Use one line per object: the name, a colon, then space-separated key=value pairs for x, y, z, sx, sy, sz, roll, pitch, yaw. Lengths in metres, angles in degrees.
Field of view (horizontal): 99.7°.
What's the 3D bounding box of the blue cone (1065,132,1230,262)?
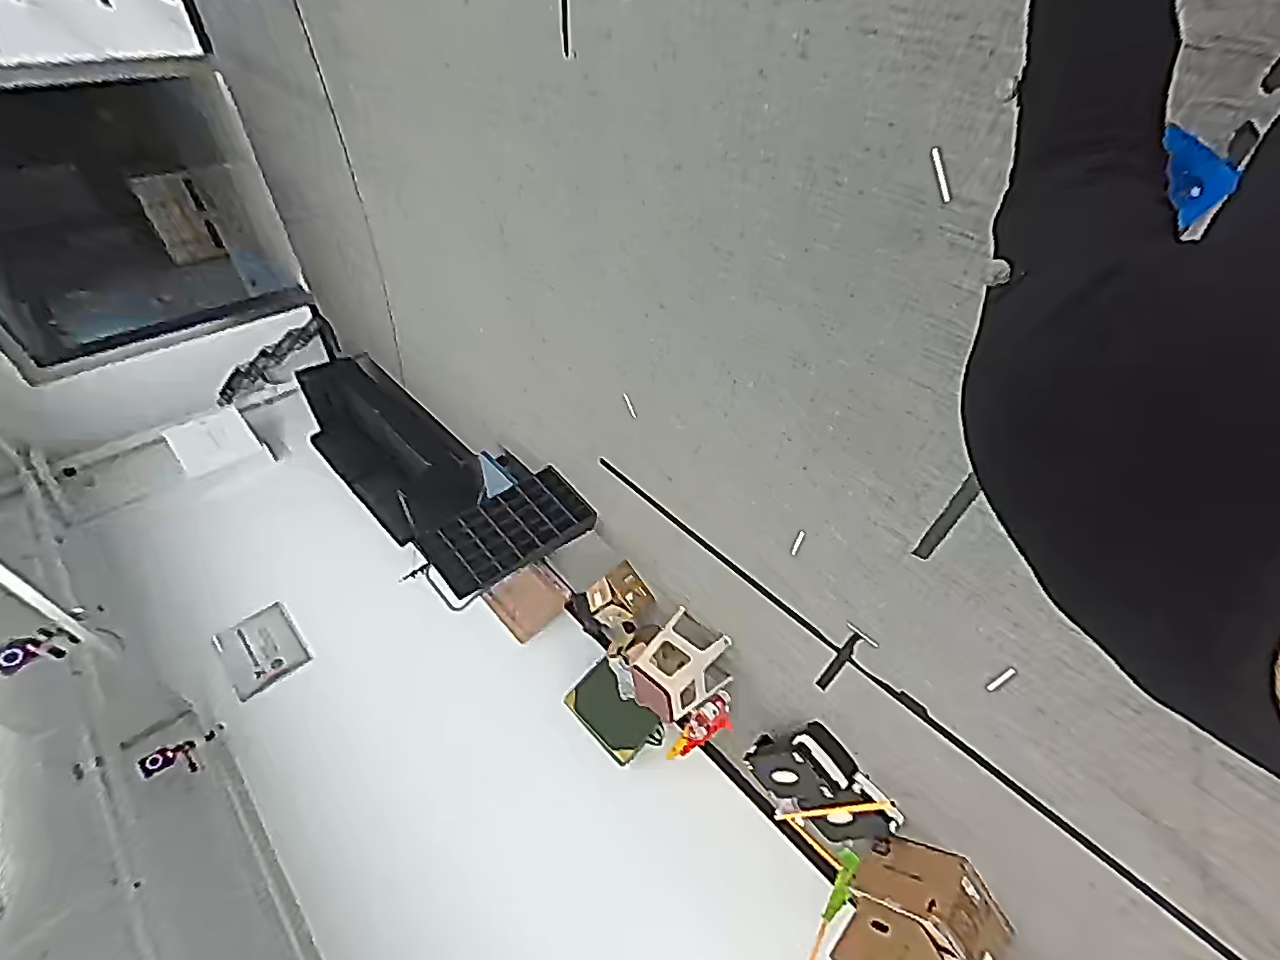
blue cone: x=0.850 y=-0.467 z=0.960 sx=0.193 sy=0.380 sz=0.192 roll=52 pitch=149 yaw=11
